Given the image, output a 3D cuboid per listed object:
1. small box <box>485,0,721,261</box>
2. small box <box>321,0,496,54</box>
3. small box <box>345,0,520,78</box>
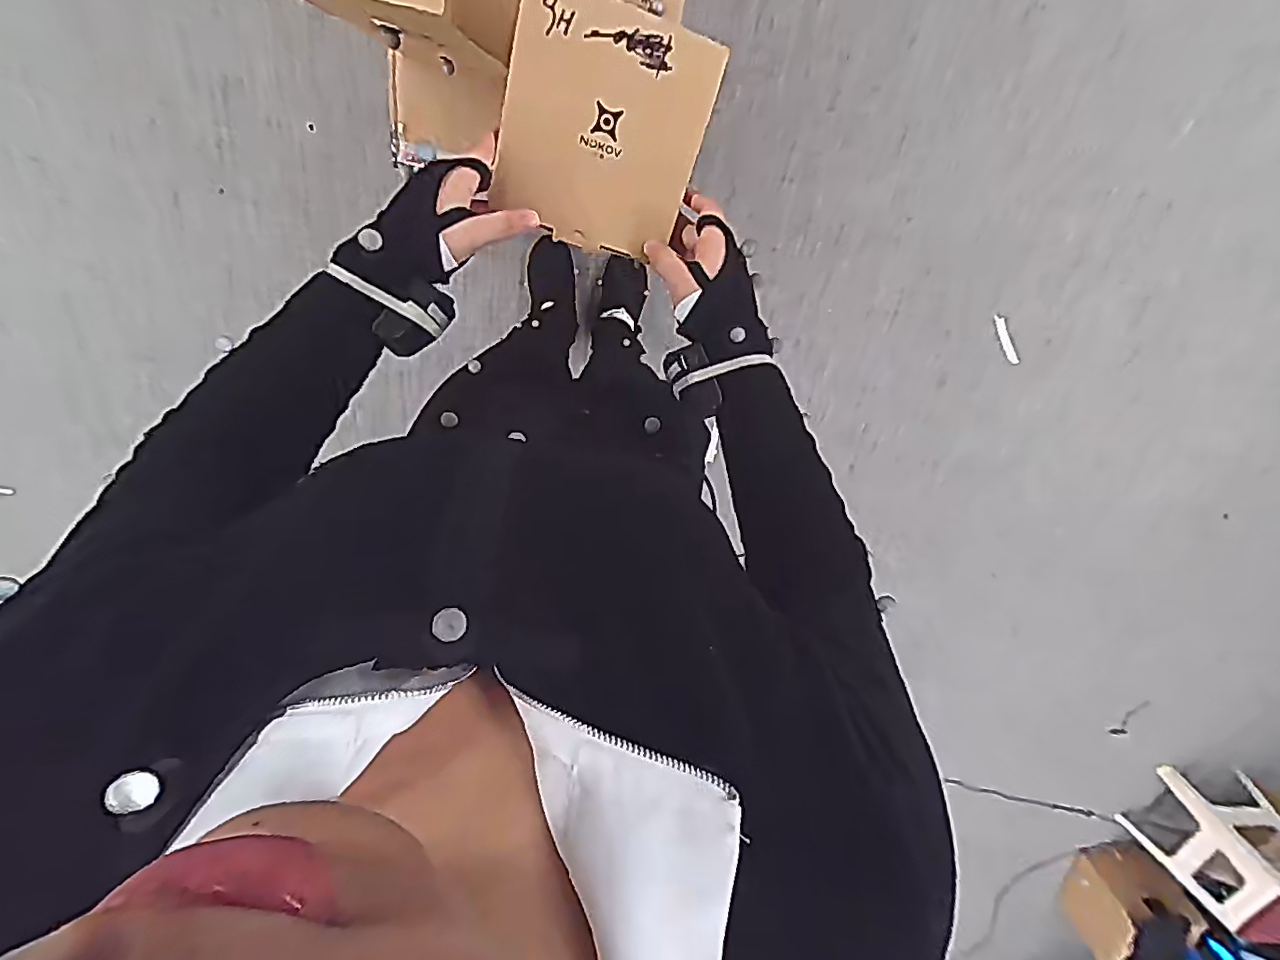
[{"bbox_3d":[-0.040,-0.342,0.529,0.168,0.176,0.179,14,119,-13],"label":"small box"},{"bbox_3d":[-0.224,-0.518,0.479,0.168,0.176,0.179,10,119,-5],"label":"small box"},{"bbox_3d":[-0.227,-0.598,0.621,0.168,0.176,0.179,10,119,-5],"label":"small box"}]
